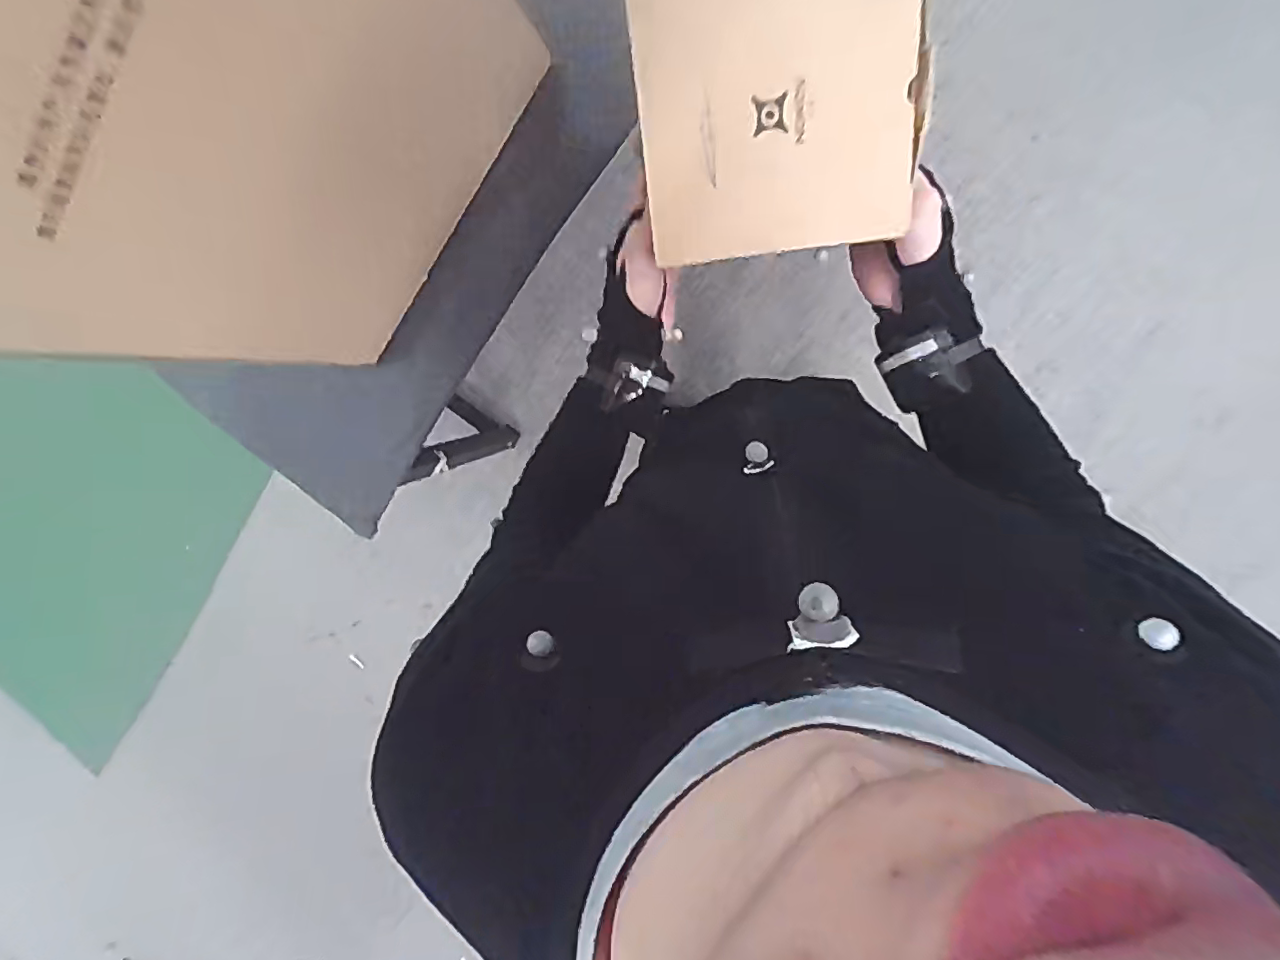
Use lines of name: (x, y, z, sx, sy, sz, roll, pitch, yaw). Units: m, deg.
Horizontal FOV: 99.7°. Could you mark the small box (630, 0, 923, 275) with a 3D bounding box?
small box: (0.097, -0.262, 0.424, 0.179, 0.176, 0.168, -5, 112, 10)
